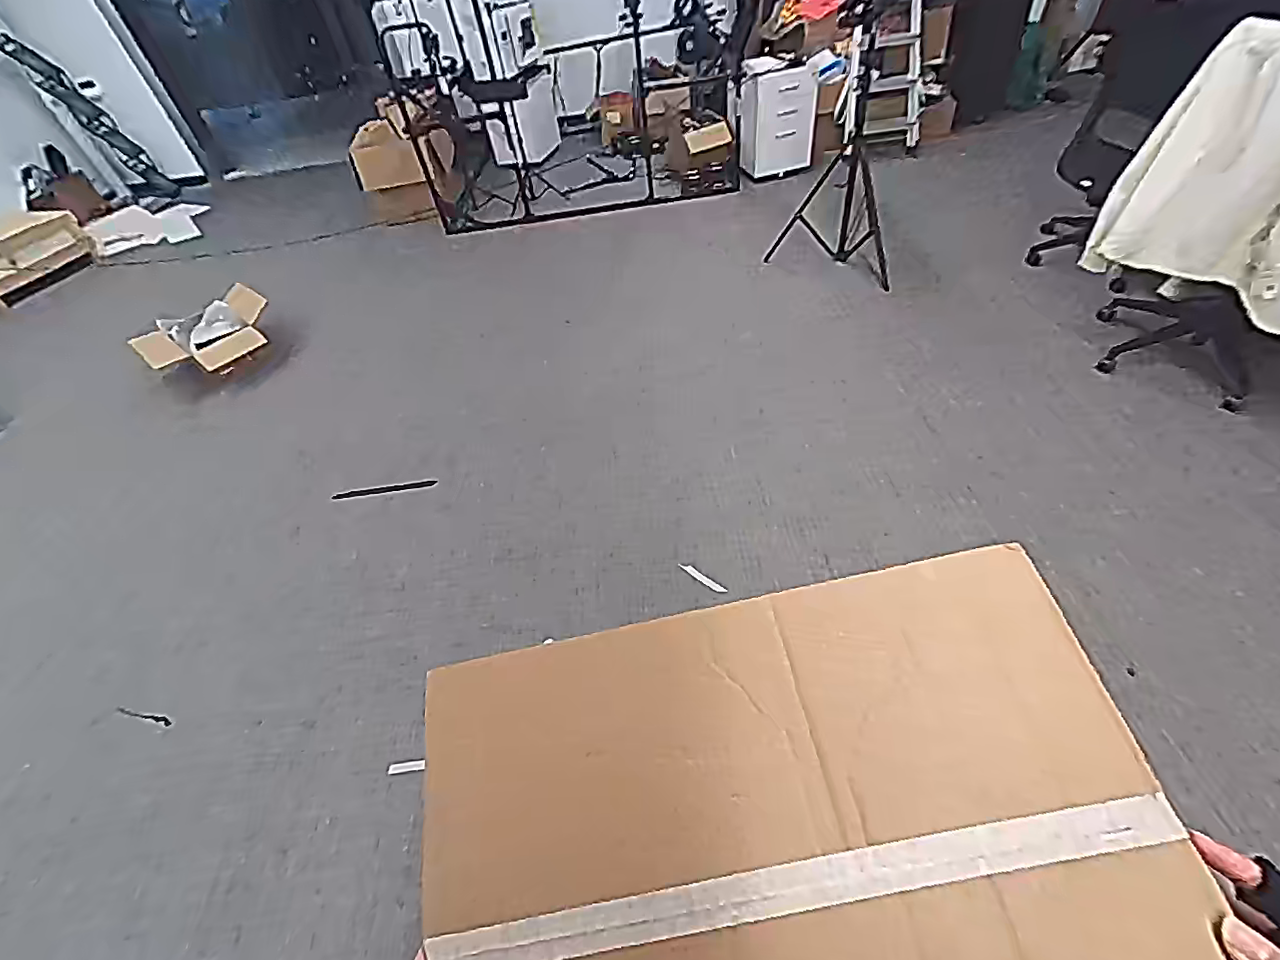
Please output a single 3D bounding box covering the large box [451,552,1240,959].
[{"bbox_3d":[0.108,0.295,0.429,0.408,0.320,0.320,-13,62,3],"label":"large box"}]
